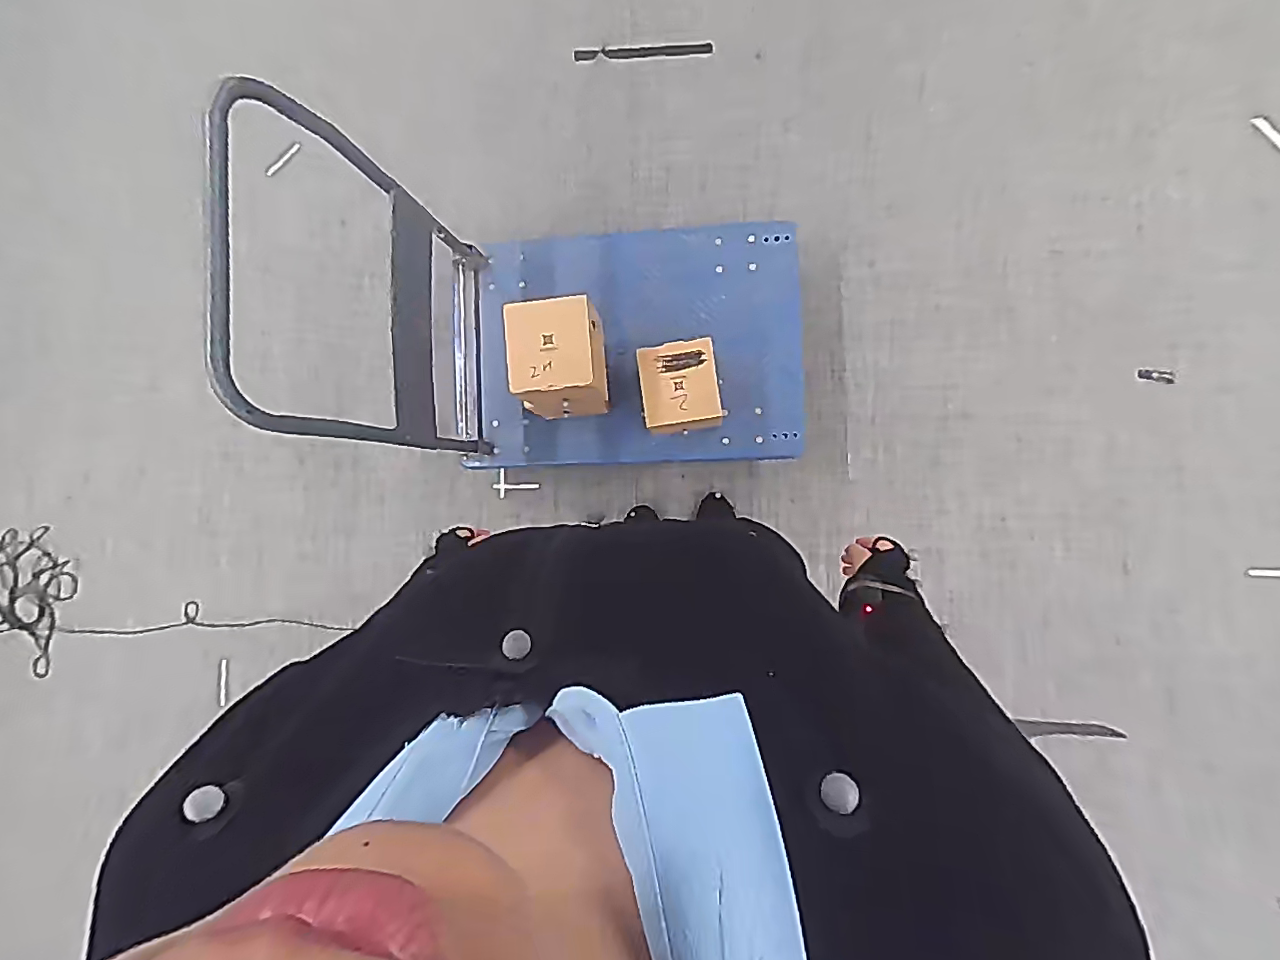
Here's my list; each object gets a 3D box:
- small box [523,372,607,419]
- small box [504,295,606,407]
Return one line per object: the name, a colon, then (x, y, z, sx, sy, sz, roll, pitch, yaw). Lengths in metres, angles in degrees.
small box: (-0.175, -0.249, 1.270, 0.168, 0.176, 0.179, -5, 88, 6)
small box: (-0.167, -0.255, 1.104, 0.168, 0.176, 0.179, -5, 88, 6)
